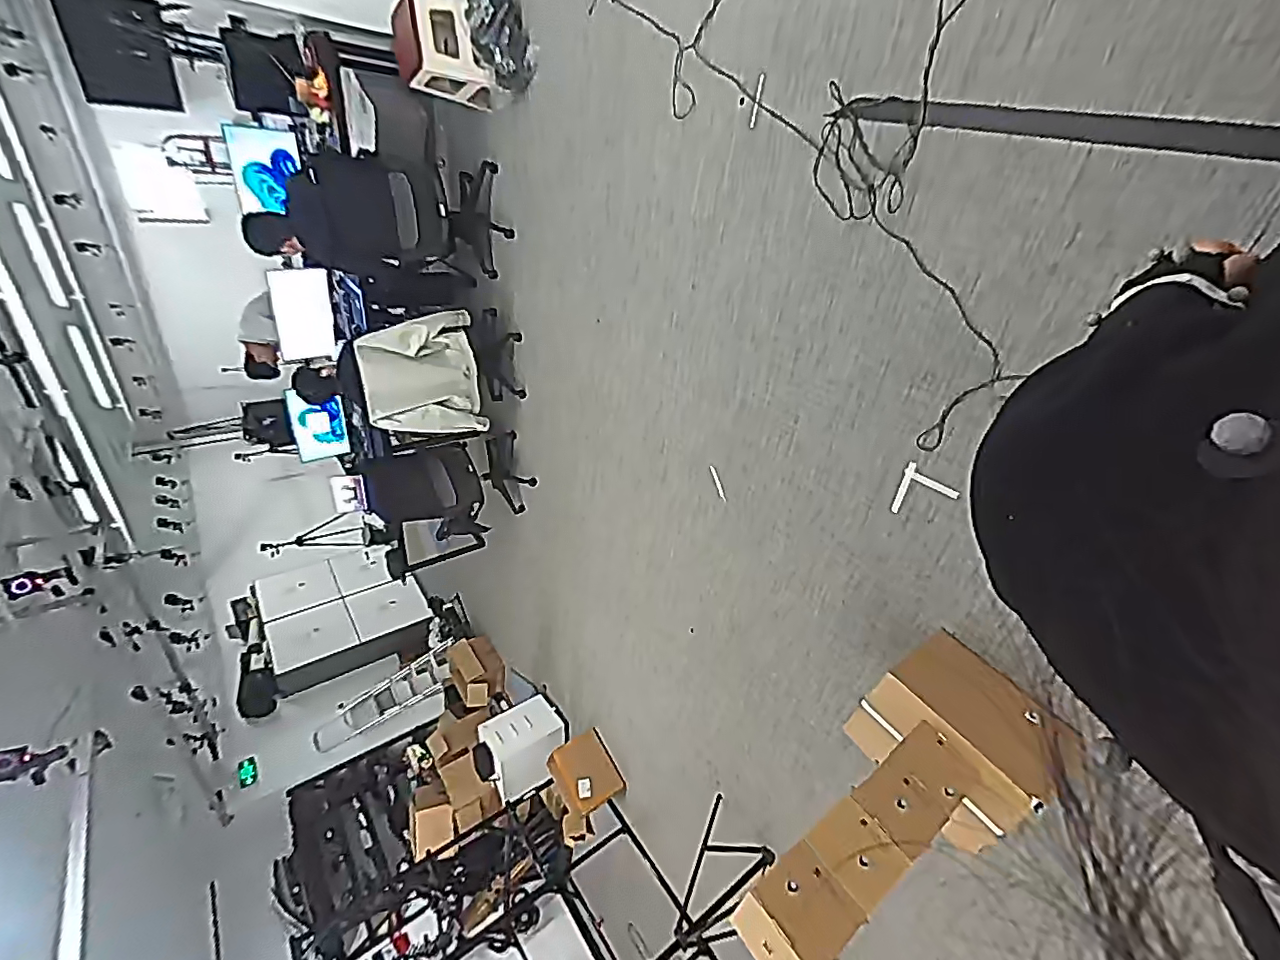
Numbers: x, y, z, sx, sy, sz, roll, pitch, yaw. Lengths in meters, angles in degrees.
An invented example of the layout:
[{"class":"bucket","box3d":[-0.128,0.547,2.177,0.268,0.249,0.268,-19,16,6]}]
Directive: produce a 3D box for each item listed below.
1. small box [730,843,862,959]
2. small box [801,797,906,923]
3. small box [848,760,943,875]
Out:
[{"class":"small box","box3d":[0.313,0.879,1.083,0.168,0.176,0.179,42,137,38]},{"class":"small box","box3d":[0.441,0.834,1.171,0.168,0.176,0.179,41,136,37]},{"class":"small box","box3d":[0.571,0.798,1.263,0.168,0.176,0.179,44,136,36]}]
